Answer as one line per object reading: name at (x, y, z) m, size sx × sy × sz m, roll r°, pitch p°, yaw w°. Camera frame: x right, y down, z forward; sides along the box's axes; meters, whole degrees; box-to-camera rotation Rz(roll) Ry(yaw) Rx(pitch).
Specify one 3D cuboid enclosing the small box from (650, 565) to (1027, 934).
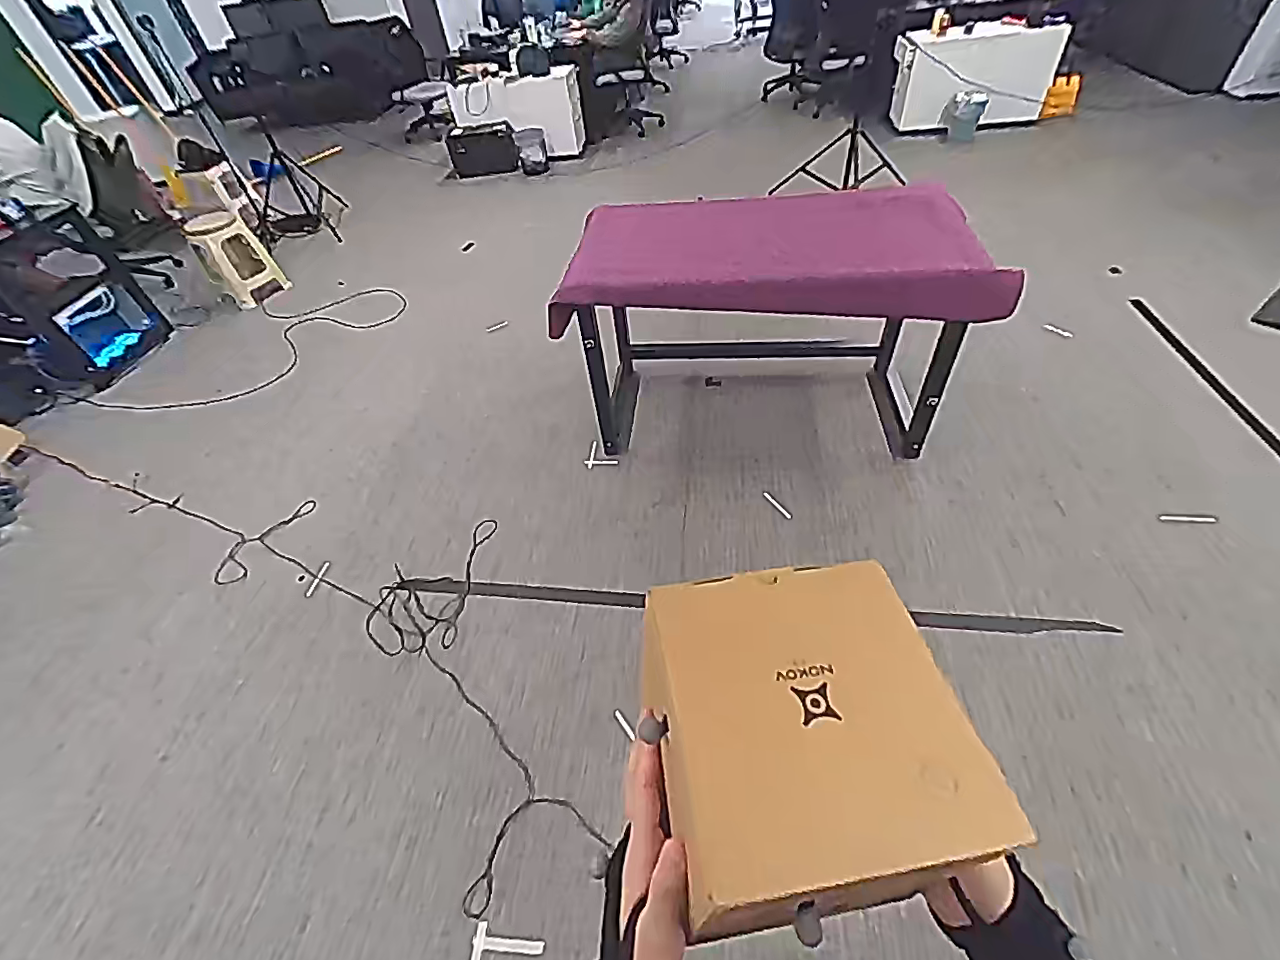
small box at (0.101, 0.186, 0.374) m, size 0.168 × 0.176 × 0.179 m, roll -6°, pitch 44°, yaw -7°
